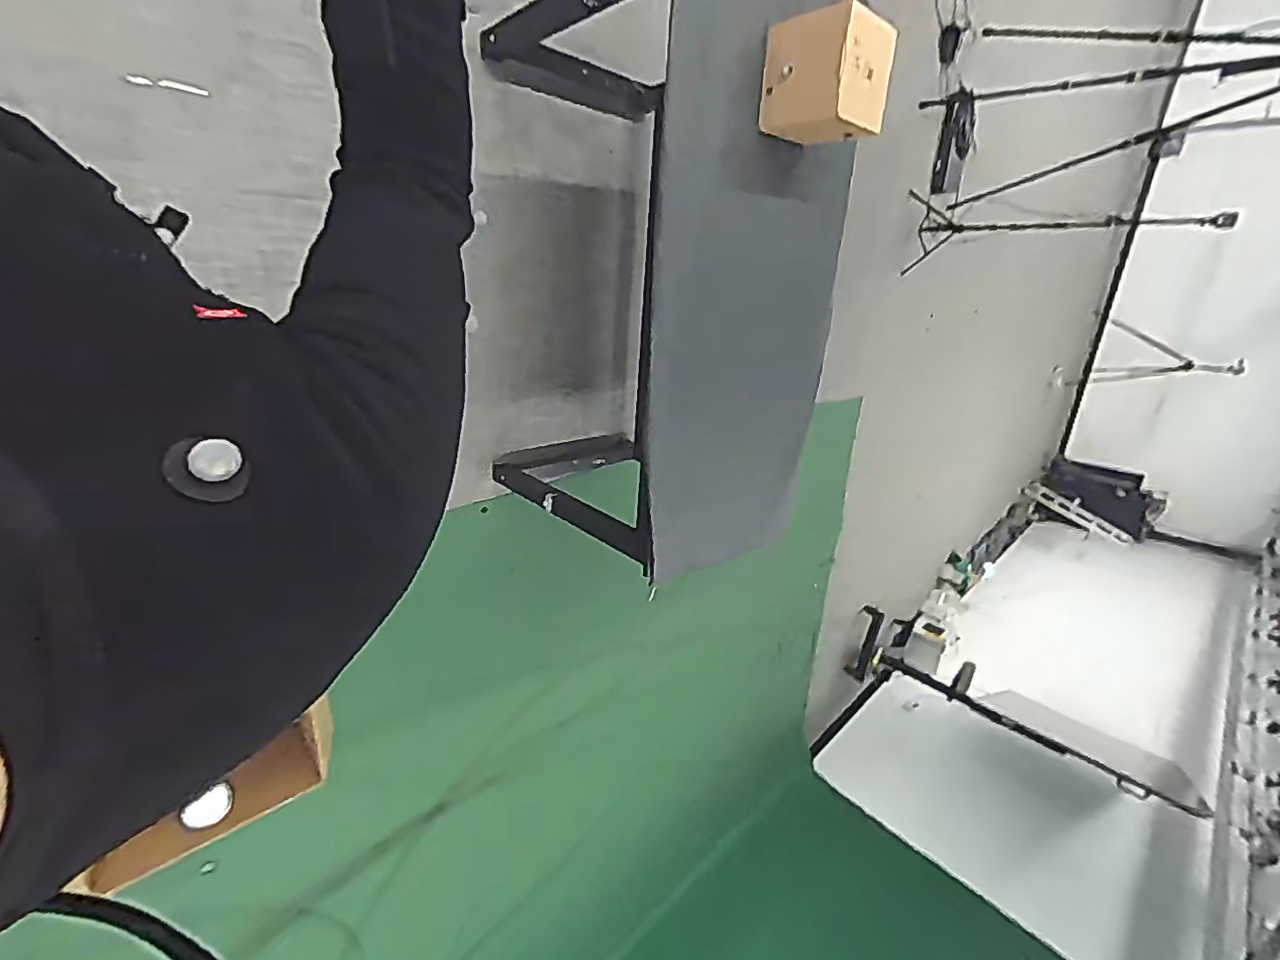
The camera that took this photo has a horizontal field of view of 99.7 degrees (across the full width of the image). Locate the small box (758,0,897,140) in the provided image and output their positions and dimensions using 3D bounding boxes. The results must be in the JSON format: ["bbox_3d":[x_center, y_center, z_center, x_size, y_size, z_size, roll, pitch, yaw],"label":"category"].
[{"bbox_3d":[0.349,-0.756,1.019,0.179,0.176,0.168,-17,118,-40],"label":"small box"}]
